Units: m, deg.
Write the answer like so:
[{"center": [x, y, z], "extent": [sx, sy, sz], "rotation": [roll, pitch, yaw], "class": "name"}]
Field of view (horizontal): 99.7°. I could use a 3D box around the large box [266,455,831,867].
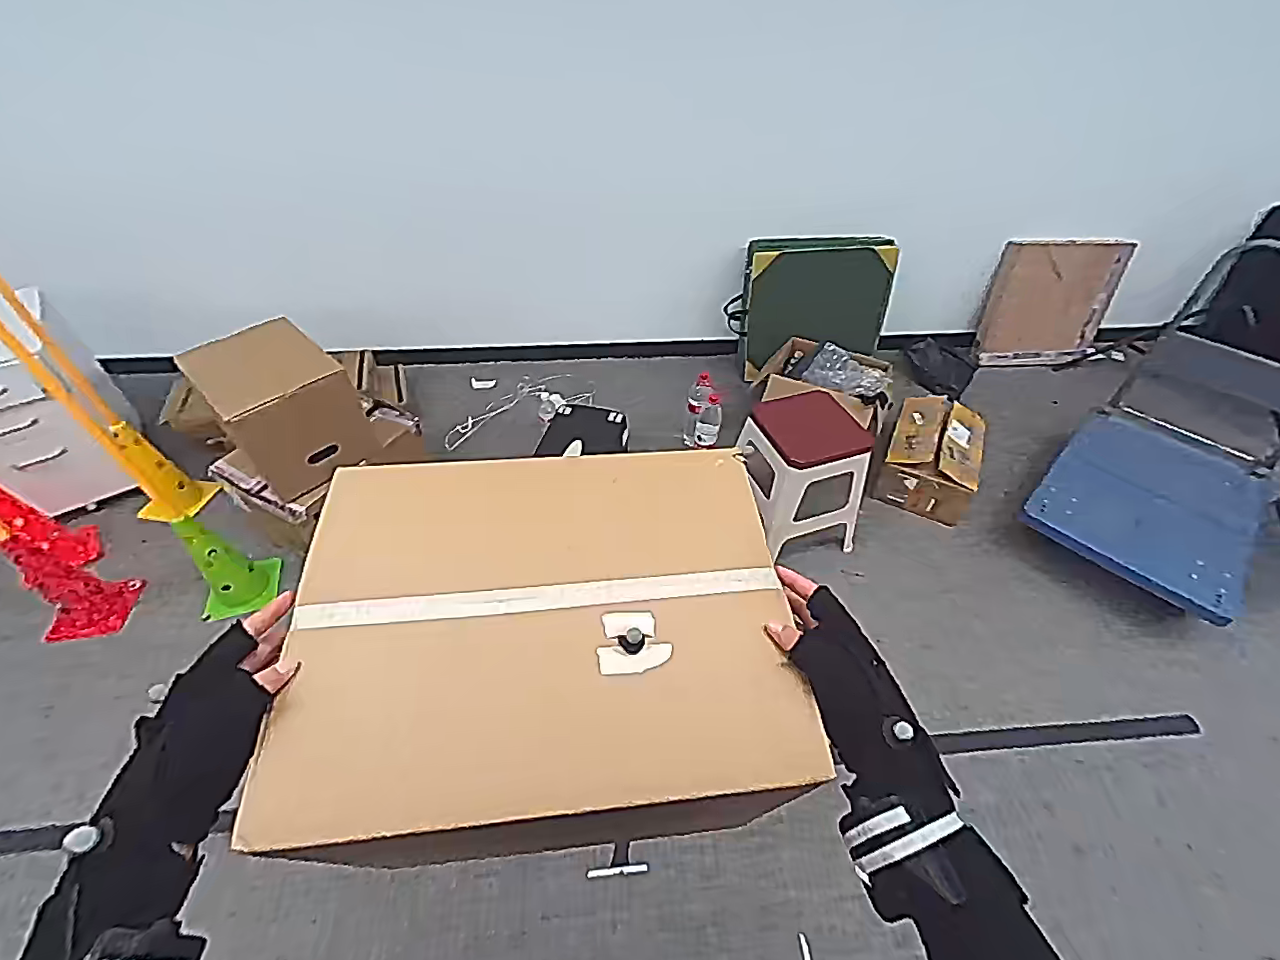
[{"center": [-0.080, 0.195, 0.583], "extent": [0.408, 0.320, 0.320], "rotation": [-3, 53, -7], "class": "large box"}]
